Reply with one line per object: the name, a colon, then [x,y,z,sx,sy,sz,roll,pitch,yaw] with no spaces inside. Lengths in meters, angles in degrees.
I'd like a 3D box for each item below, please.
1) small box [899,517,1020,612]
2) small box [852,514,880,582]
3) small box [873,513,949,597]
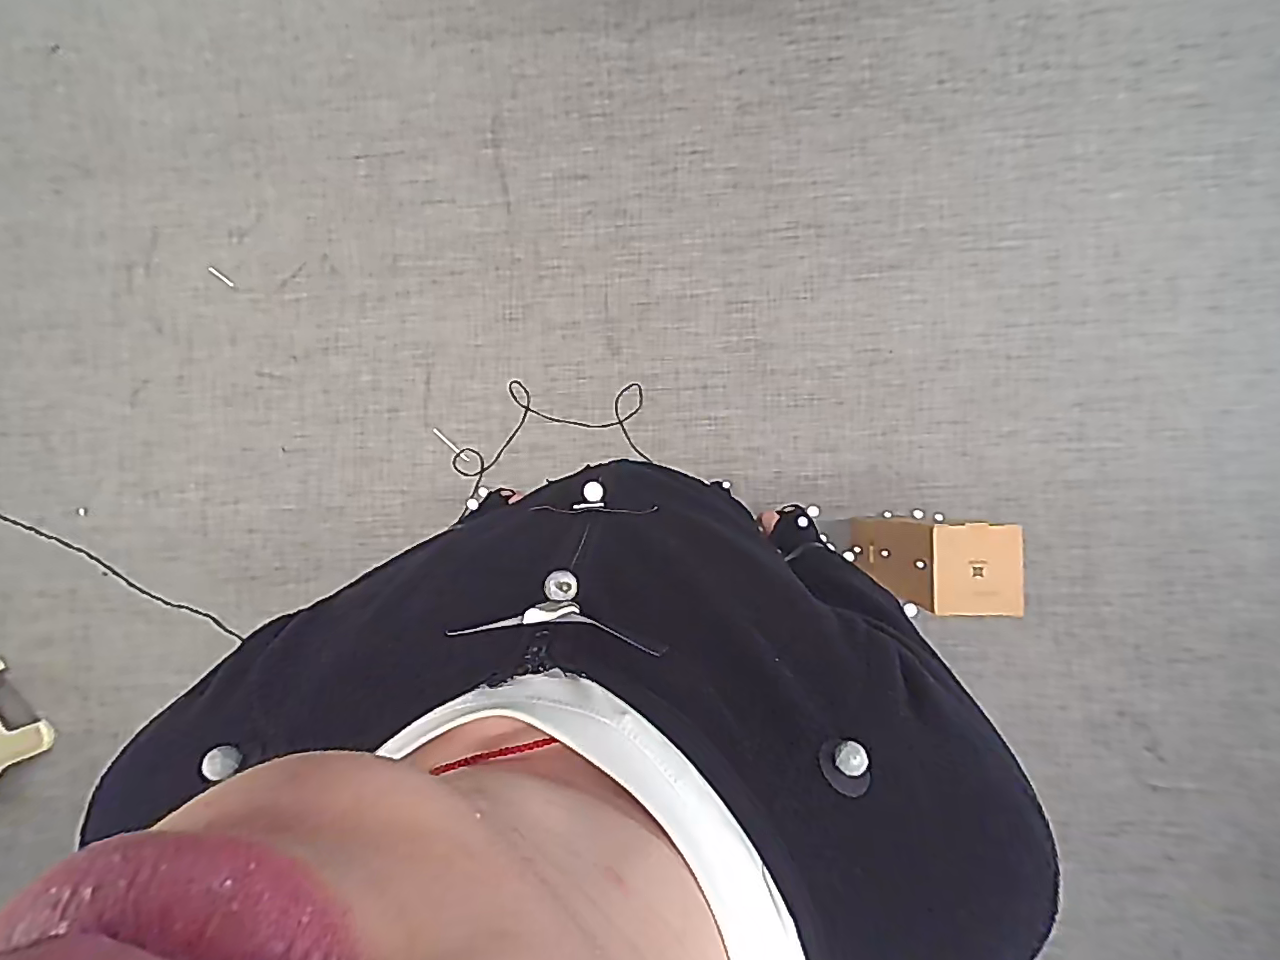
small box: [0.653,0.167,1.122,0.168,0.176,0.179,-1,91,4]
small box: [0.679,0.179,1.447,0.179,0.176,0.168,-1,91,4]
small box: [0.667,0.173,1.282,0.168,0.176,0.179,-2,90,3]
